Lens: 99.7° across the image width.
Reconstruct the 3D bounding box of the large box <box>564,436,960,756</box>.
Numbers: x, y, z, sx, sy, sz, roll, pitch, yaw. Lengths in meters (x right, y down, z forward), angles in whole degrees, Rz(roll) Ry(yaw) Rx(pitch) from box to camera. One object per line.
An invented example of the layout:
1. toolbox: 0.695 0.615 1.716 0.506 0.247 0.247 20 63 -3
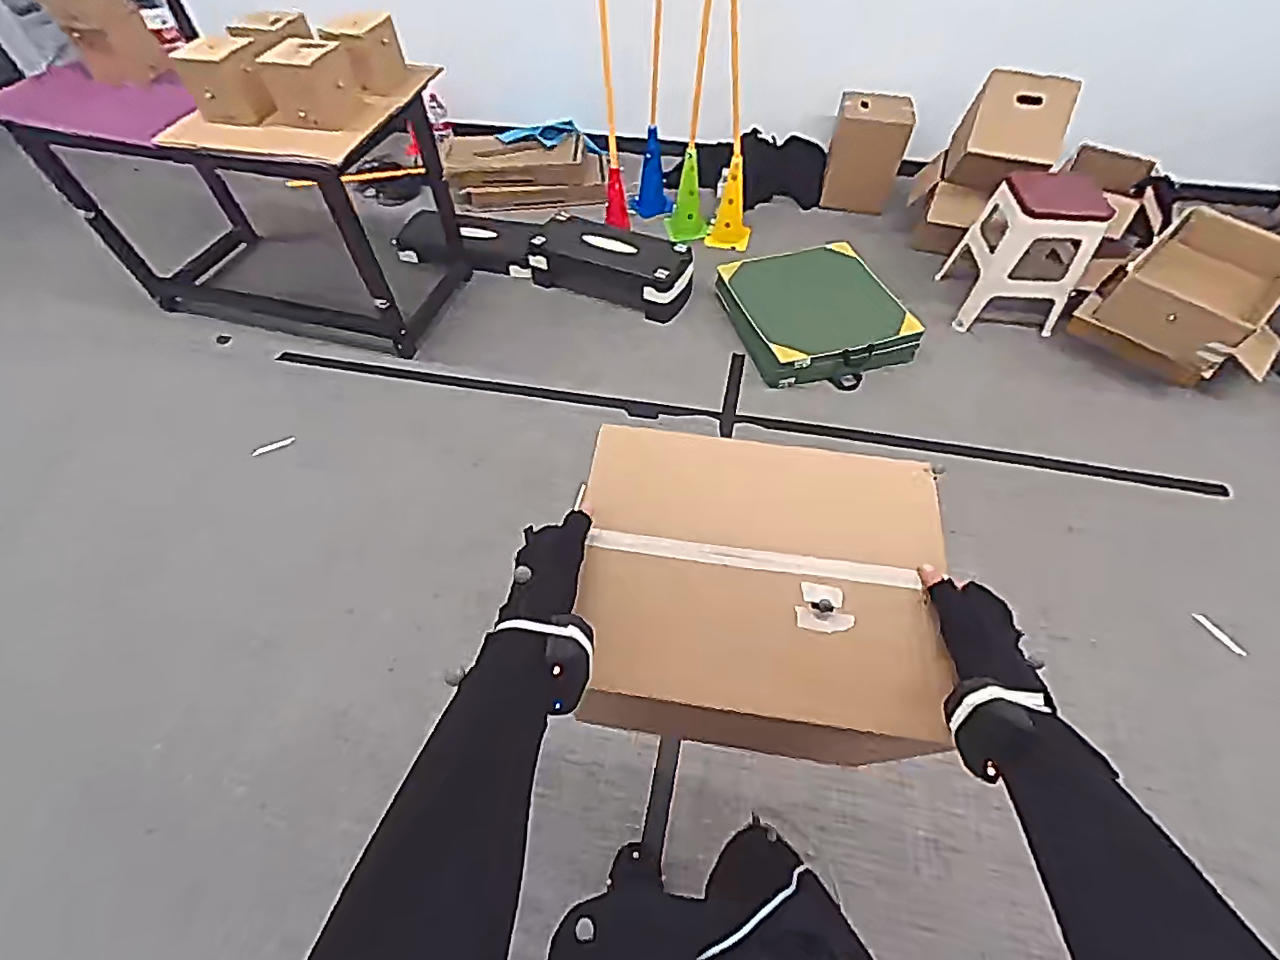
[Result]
1. large box: 0.132 0.170 0.737 0.408 0.320 0.320 8 61 3
